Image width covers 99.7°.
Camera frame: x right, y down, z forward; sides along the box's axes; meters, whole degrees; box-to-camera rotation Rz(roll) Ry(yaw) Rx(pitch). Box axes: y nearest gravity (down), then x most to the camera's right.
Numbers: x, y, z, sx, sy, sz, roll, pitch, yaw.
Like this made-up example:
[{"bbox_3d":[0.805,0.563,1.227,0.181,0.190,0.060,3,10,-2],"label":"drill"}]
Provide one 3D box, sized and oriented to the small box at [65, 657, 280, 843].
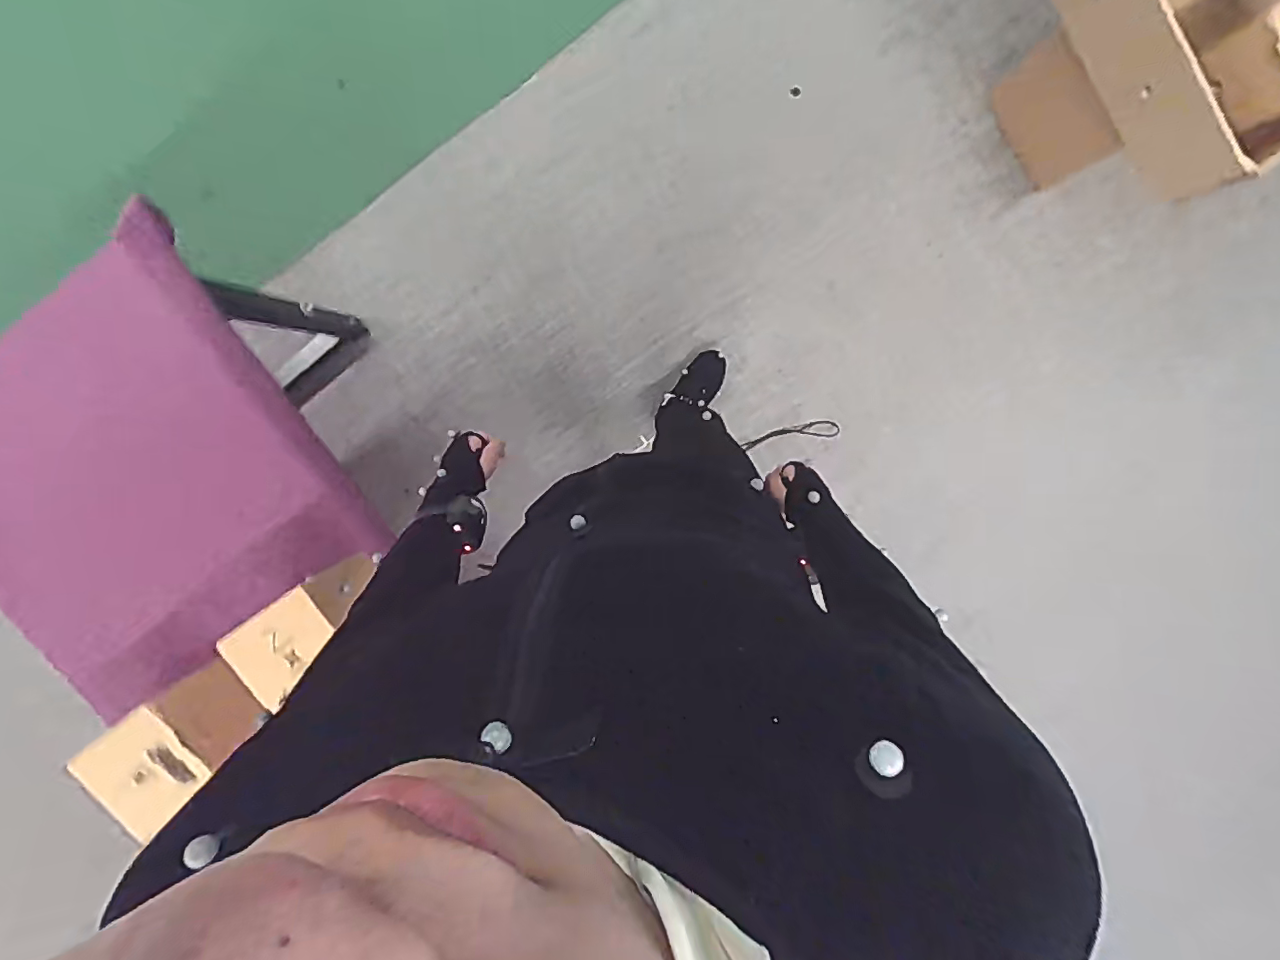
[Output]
[{"bbox_3d":[-0.734,0.424,0.879,0.179,0.176,0.168,-36,97,6],"label":"small box"}]
